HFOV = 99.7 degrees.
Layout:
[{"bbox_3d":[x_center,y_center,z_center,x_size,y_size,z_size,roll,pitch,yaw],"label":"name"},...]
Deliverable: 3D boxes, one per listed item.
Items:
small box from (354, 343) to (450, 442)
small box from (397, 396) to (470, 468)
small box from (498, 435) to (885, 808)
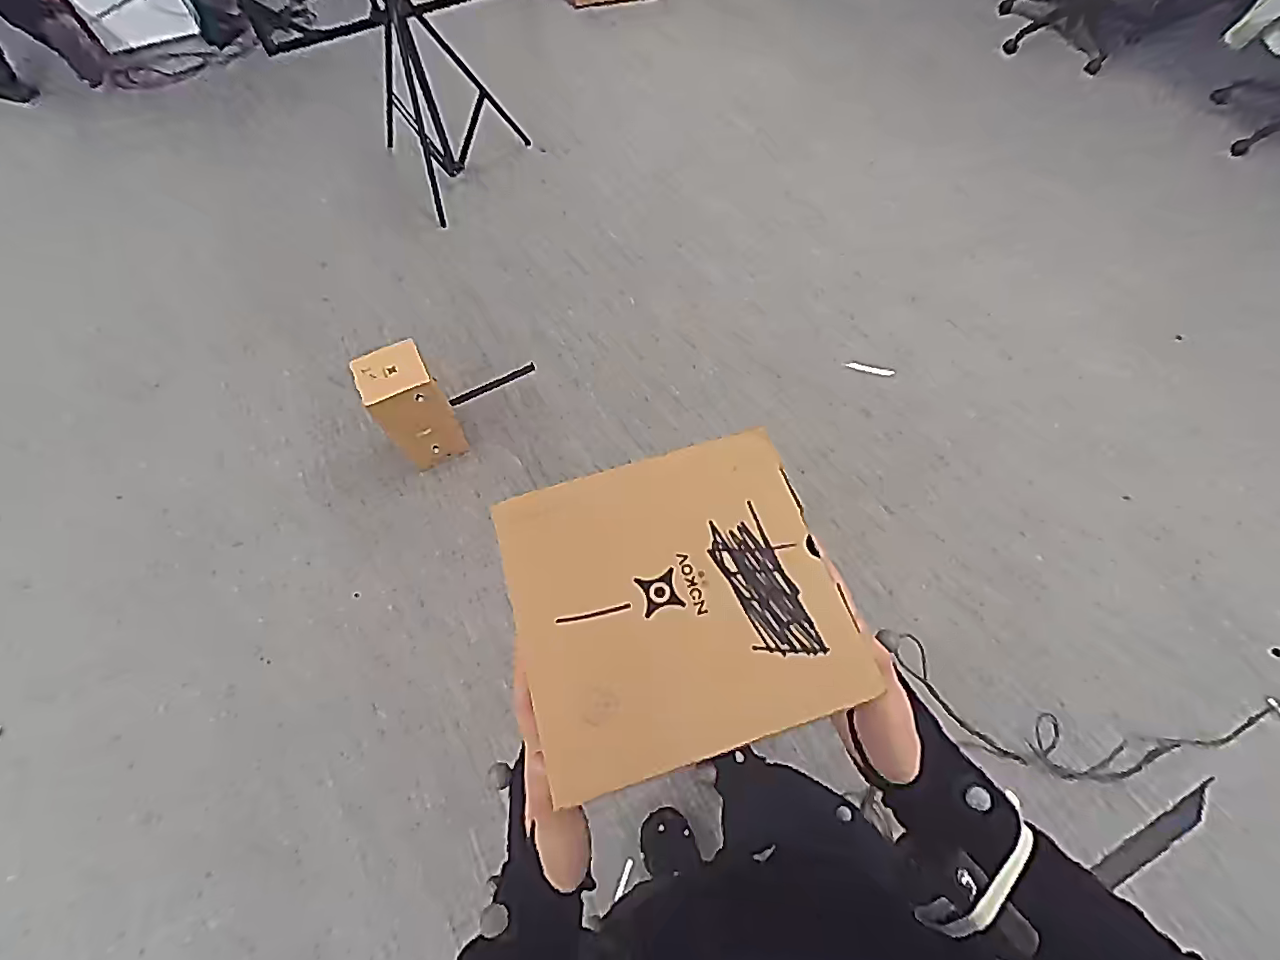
[{"bbox_3d":[-0.634,-0.234,1.467,0.179,0.176,0.168,-26,65,-10],"label":"small box"},{"bbox_3d":[-0.629,-0.156,1.614,0.168,0.176,0.179,-25,66,-10],"label":"small box"},{"bbox_3d":[0.021,0.098,0.368,0.179,0.176,0.168,-16,64,-7],"label":"small box"}]
